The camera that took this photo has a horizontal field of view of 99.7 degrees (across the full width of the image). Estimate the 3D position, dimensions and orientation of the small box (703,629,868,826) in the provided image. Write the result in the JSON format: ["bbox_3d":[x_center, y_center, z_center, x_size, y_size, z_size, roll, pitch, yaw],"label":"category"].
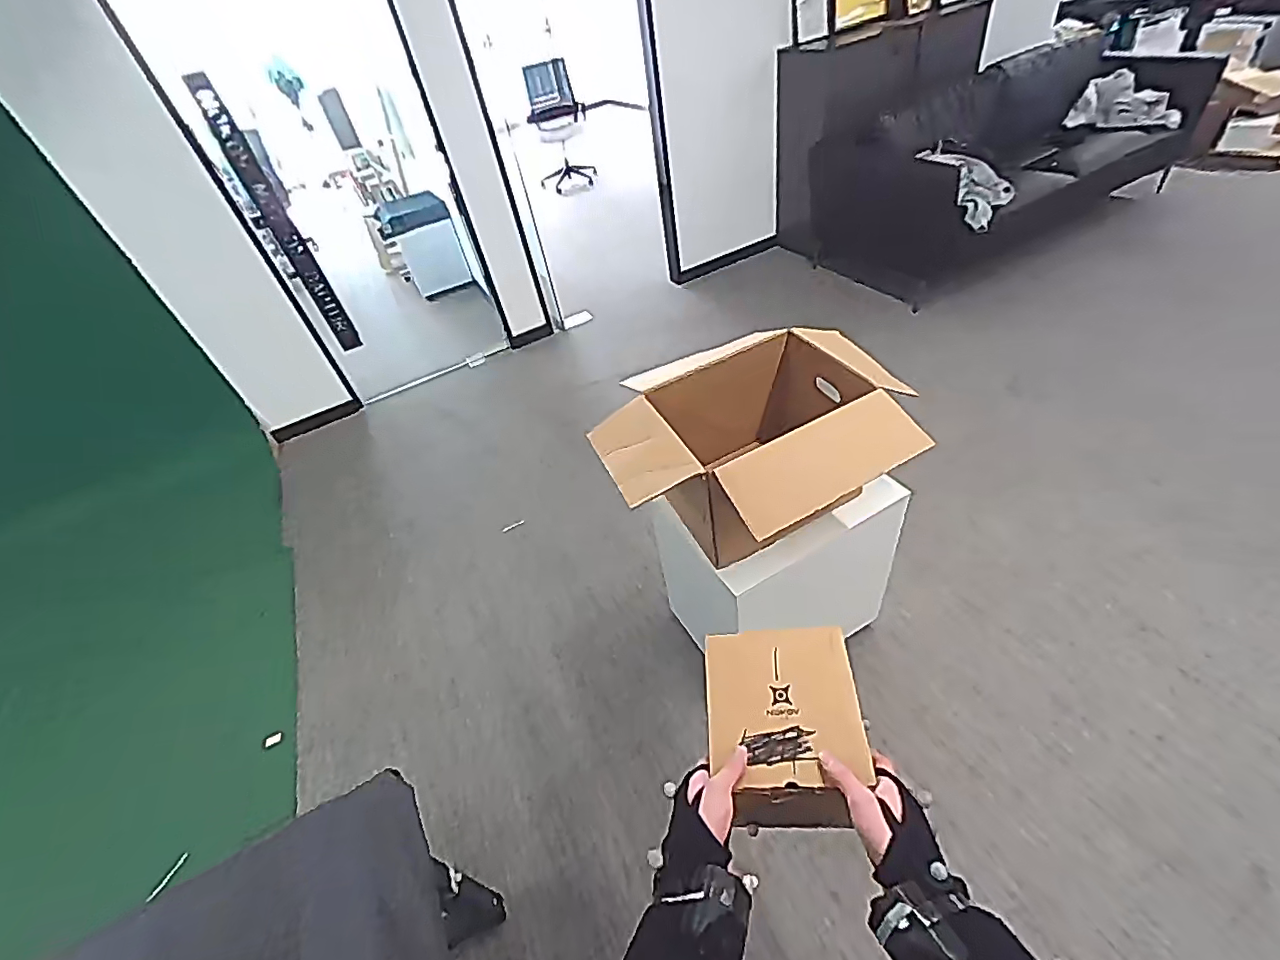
[{"bbox_3d":[0.170,0.304,0.658,0.168,0.176,0.179,-6,45,11],"label":"small box"}]
